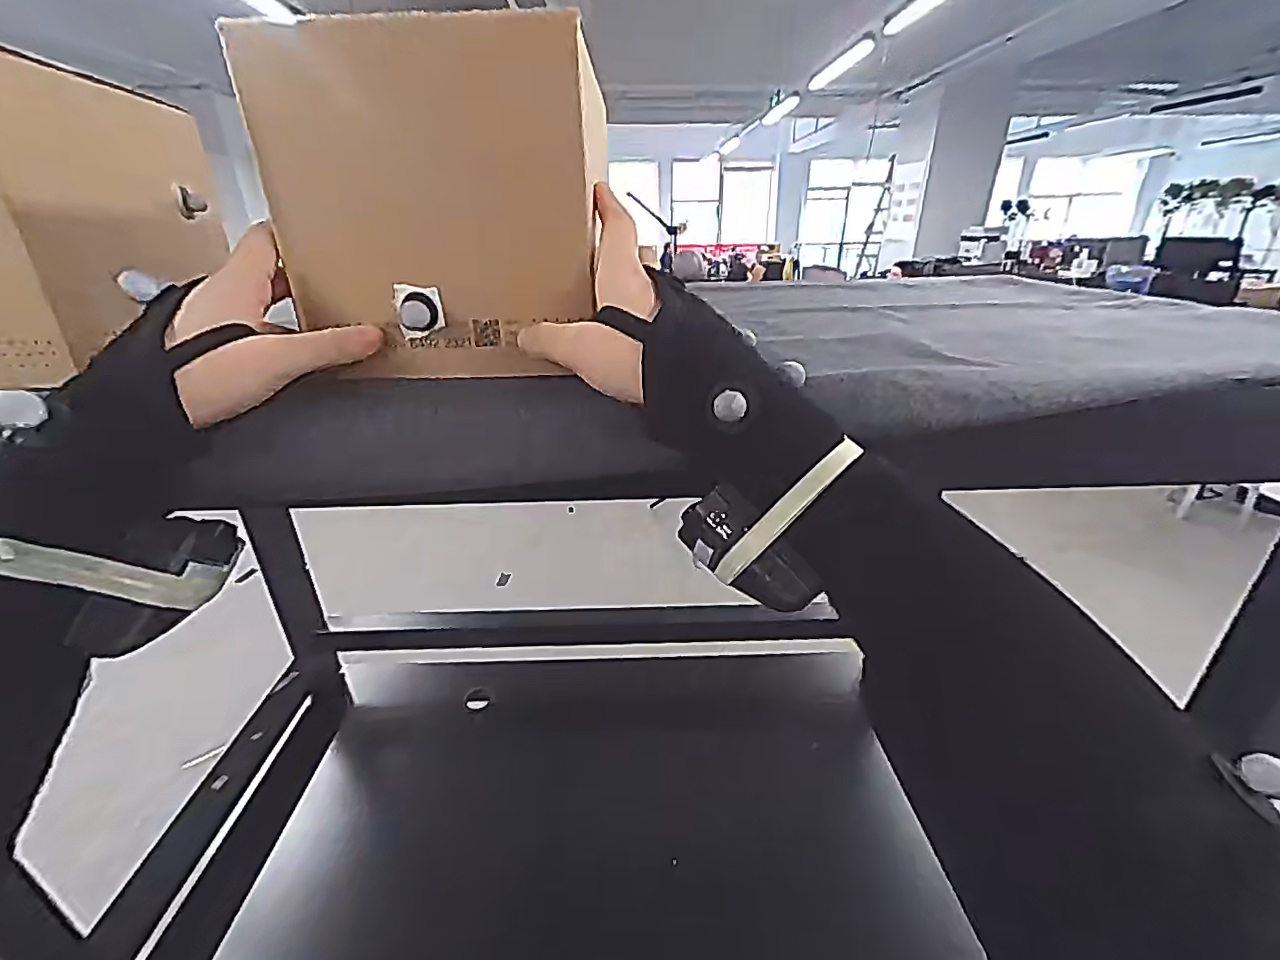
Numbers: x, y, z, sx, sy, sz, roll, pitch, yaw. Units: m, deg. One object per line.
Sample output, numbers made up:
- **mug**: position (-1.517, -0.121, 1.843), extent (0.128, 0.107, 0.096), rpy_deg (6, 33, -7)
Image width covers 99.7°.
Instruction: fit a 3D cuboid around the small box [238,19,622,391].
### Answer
- **small box**: position (-0.100, -0.159, 0.349), extent (0.168, 0.176, 0.179), rpy_deg (-2, 24, 0)
